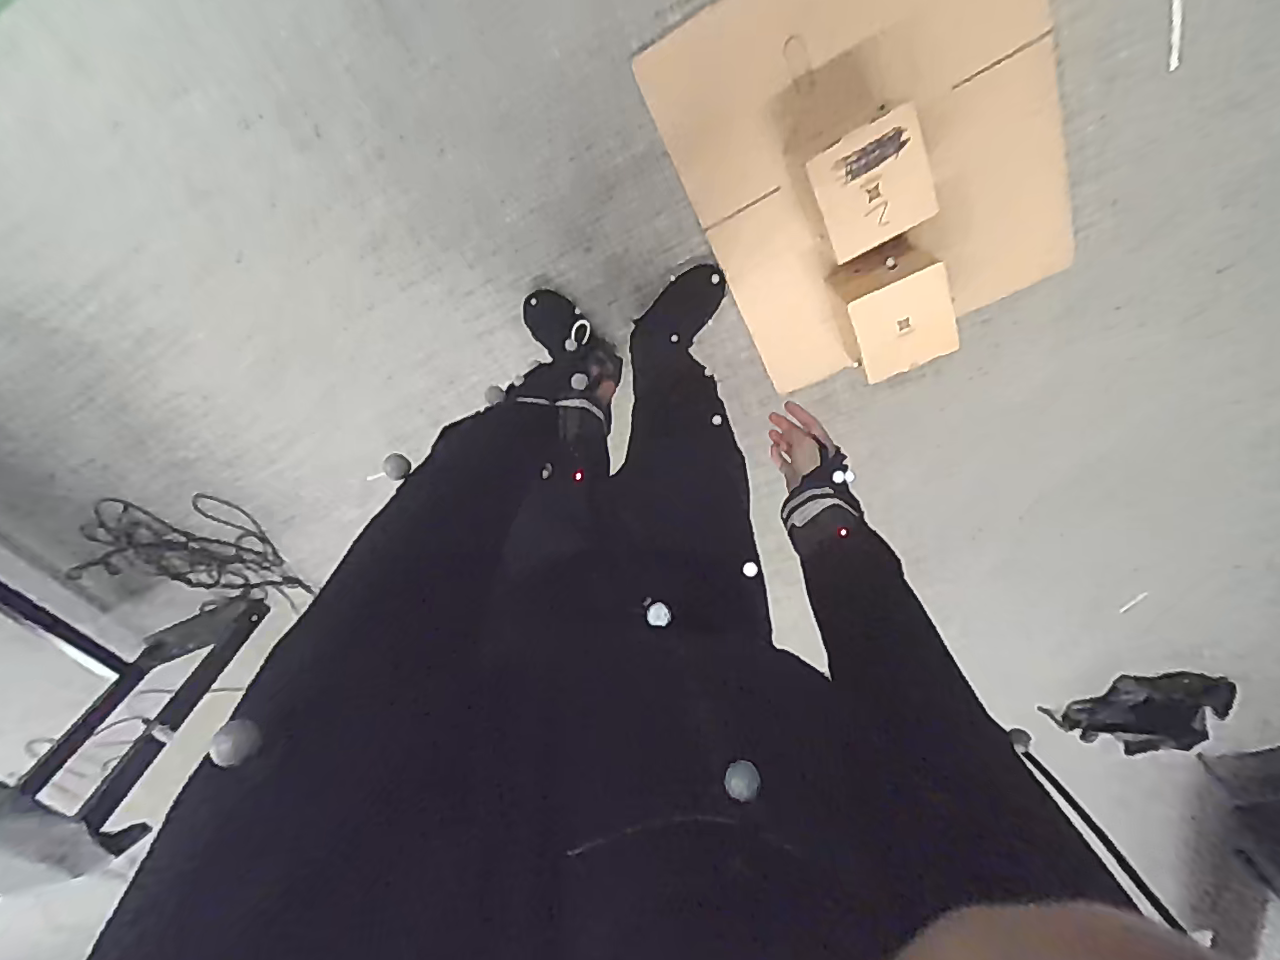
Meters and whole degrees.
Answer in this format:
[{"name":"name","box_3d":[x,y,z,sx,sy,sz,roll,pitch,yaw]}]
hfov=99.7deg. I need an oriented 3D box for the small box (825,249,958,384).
[{"name":"small box","box_3d":[0.471,-0.319,1.031,0.168,0.176,0.179,-22,121,16]}]
